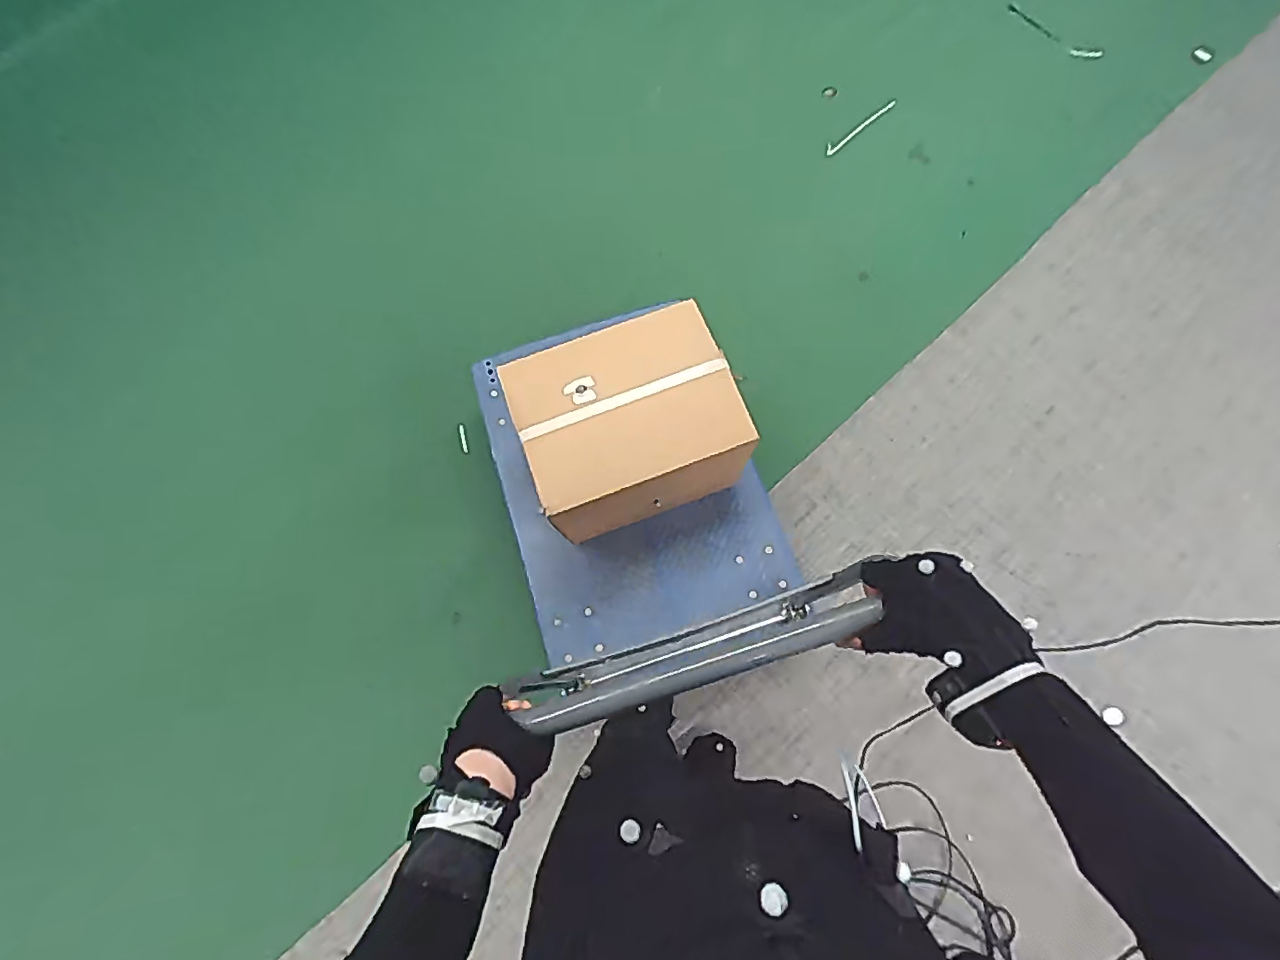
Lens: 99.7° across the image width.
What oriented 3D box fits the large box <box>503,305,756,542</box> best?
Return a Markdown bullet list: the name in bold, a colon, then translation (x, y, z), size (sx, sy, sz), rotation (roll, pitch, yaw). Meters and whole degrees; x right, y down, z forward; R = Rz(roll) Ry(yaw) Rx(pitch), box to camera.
- **large box**: translation (-0.018, -0.098, 1.149), size (0.408, 0.320, 0.320), rotation (-21, 74, -3)
